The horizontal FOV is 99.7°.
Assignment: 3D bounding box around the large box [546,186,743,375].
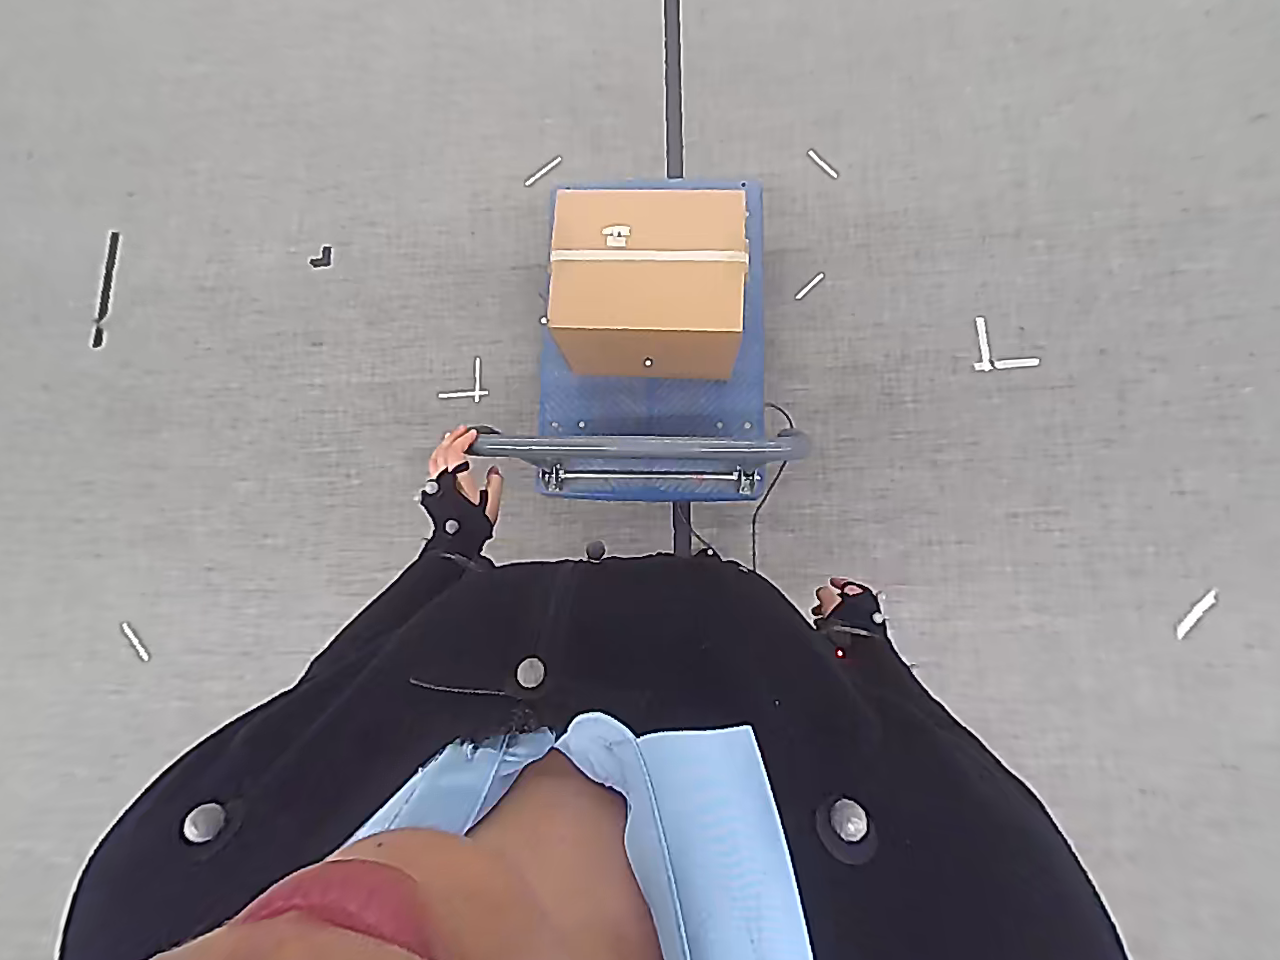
[{"bbox_3d":[0.024,-0.437,1.256,0.408,0.320,0.320,2,81,6],"label":"large box"}]
